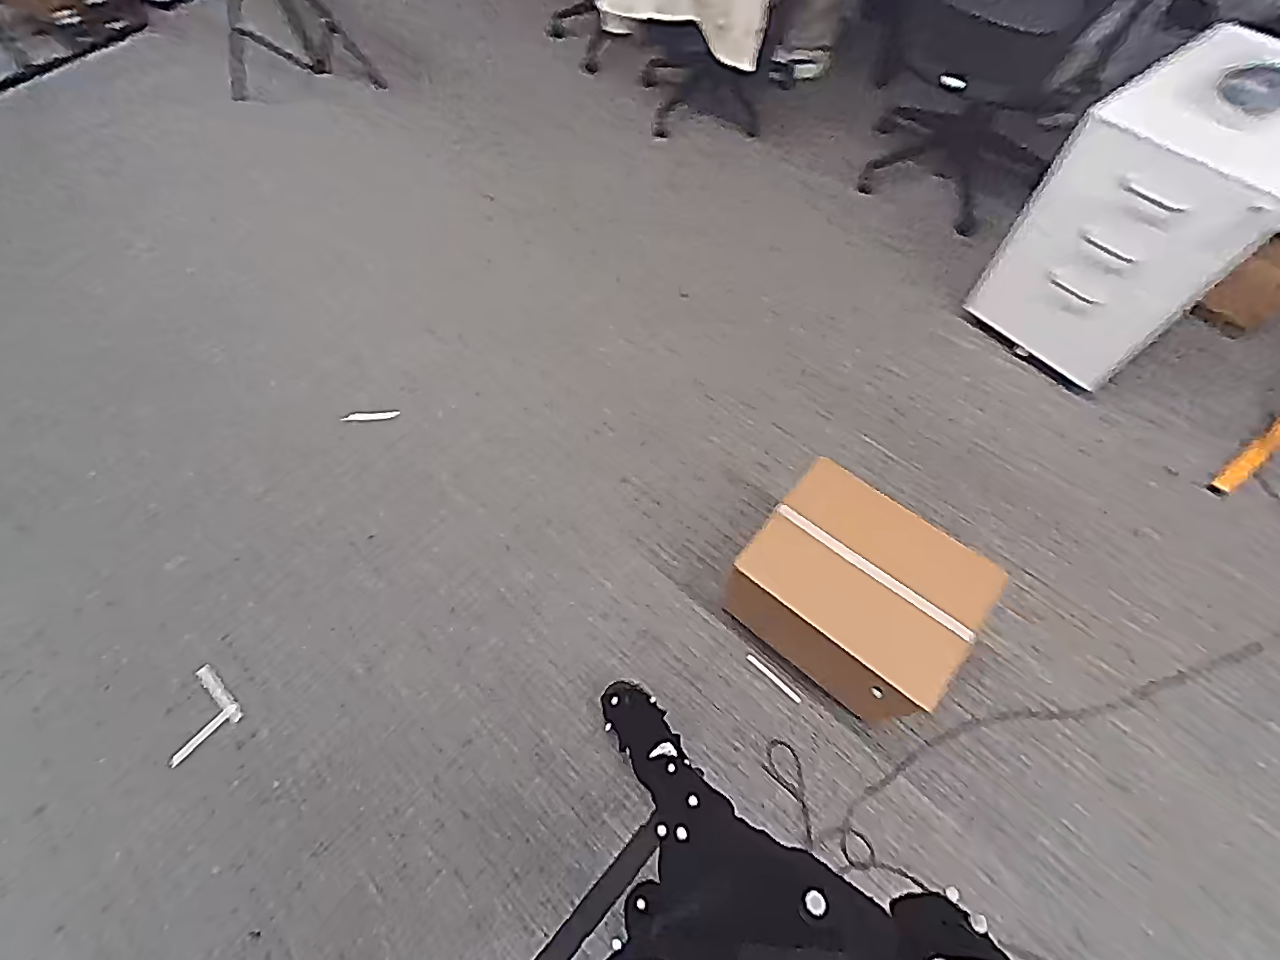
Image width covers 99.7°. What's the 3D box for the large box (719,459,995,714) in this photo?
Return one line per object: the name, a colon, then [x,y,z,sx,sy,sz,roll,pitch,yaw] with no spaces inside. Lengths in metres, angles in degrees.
large box: [0.425,0.234,1.153,0.408,0.320,0.320,36,70,19]
